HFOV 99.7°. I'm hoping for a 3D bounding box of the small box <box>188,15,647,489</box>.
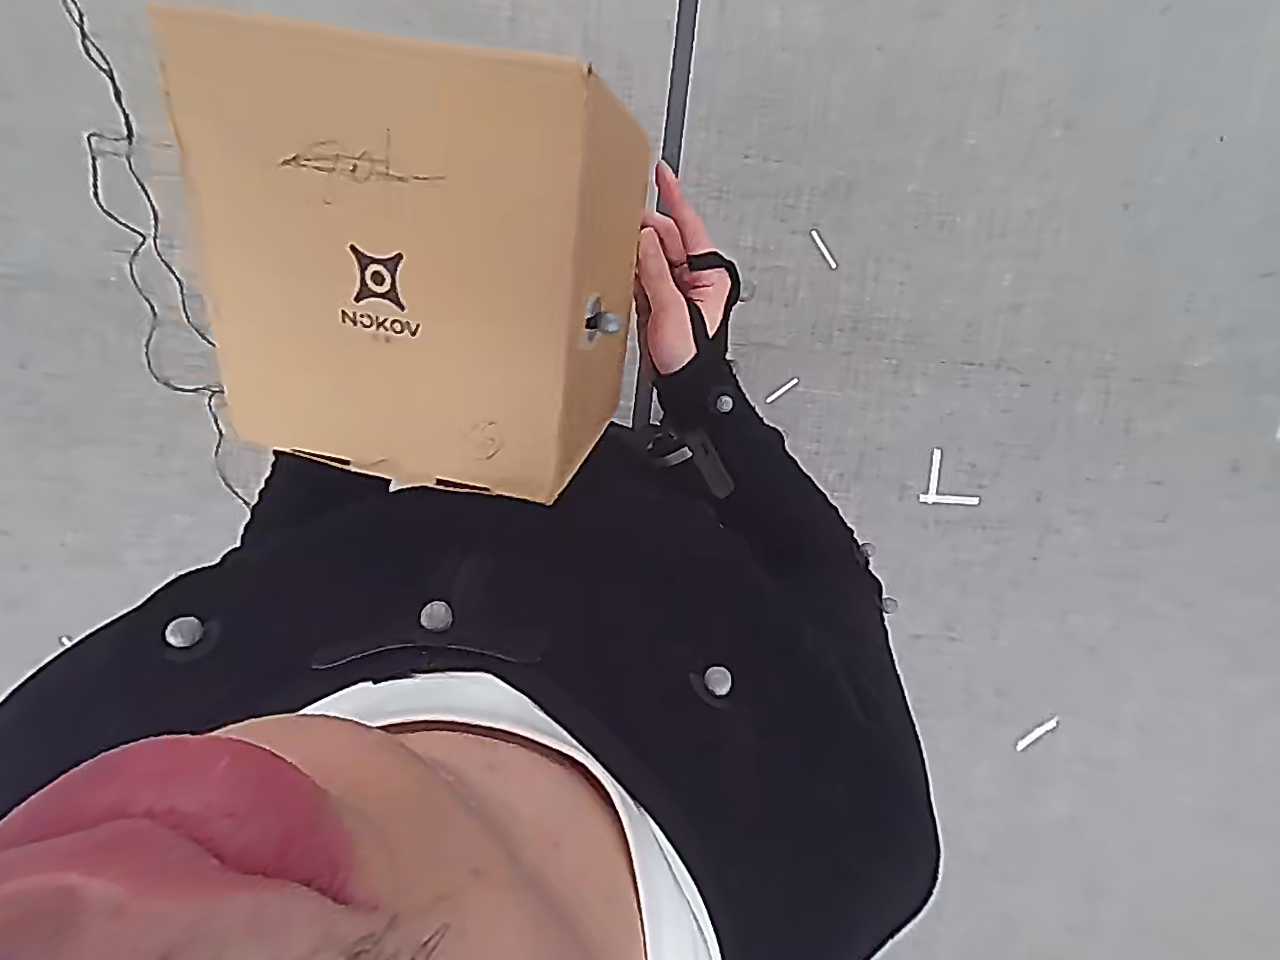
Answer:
[{"bbox_3d":[-0.094,-0.120,0.310,0.168,0.176,0.179,10,115,4],"label":"small box"}]
